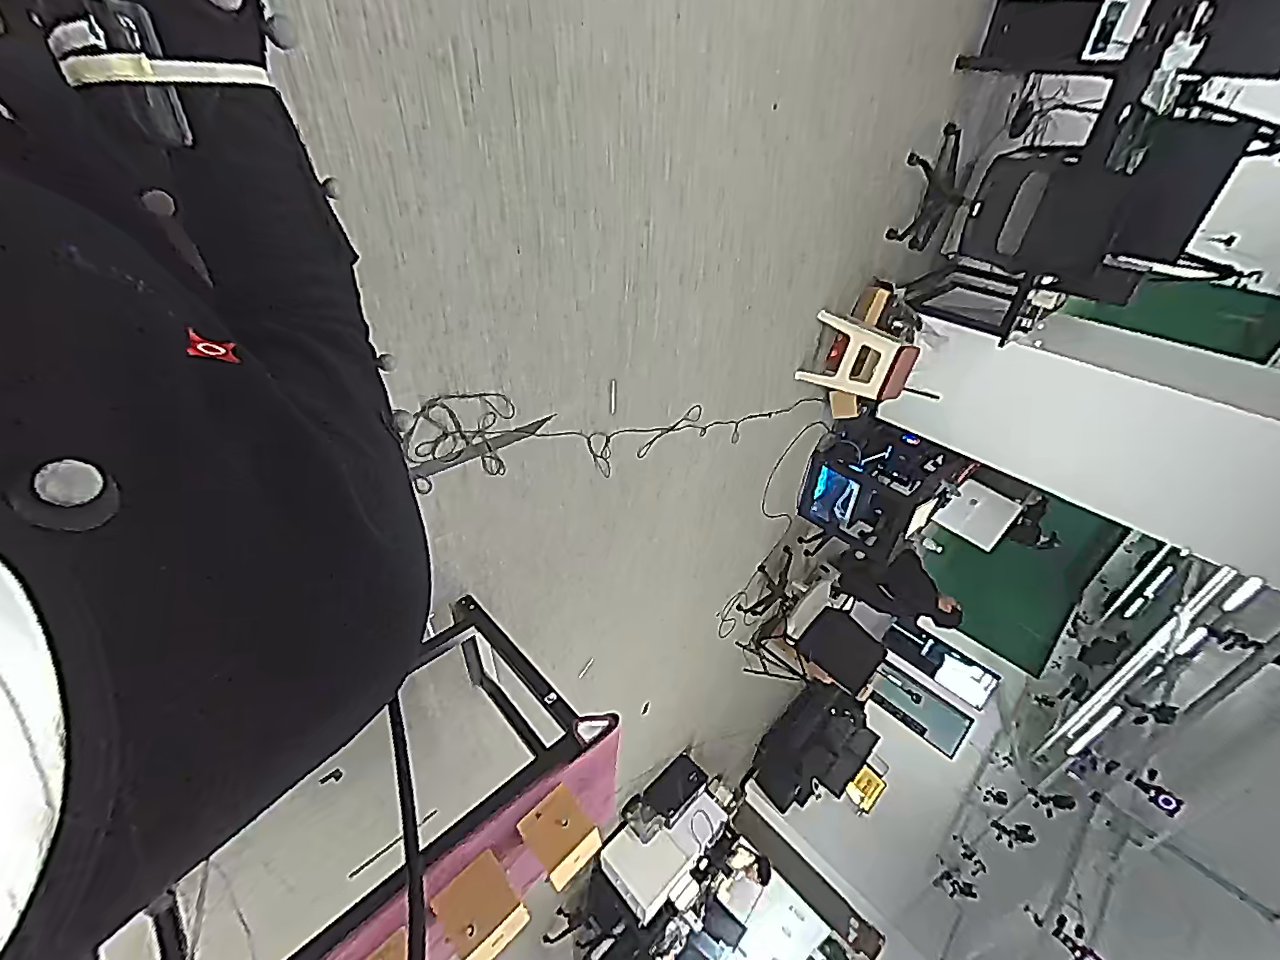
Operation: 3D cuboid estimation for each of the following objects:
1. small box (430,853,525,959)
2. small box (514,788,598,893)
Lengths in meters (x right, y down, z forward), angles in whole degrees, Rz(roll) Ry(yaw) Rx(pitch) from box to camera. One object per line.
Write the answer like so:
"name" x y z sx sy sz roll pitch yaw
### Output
"small box" -0.426 1.132 1.410 0.179 0.176 0.168 -31 139 -32
"small box" -0.242 1.030 1.556 0.168 0.176 0.179 -33 140 -30
